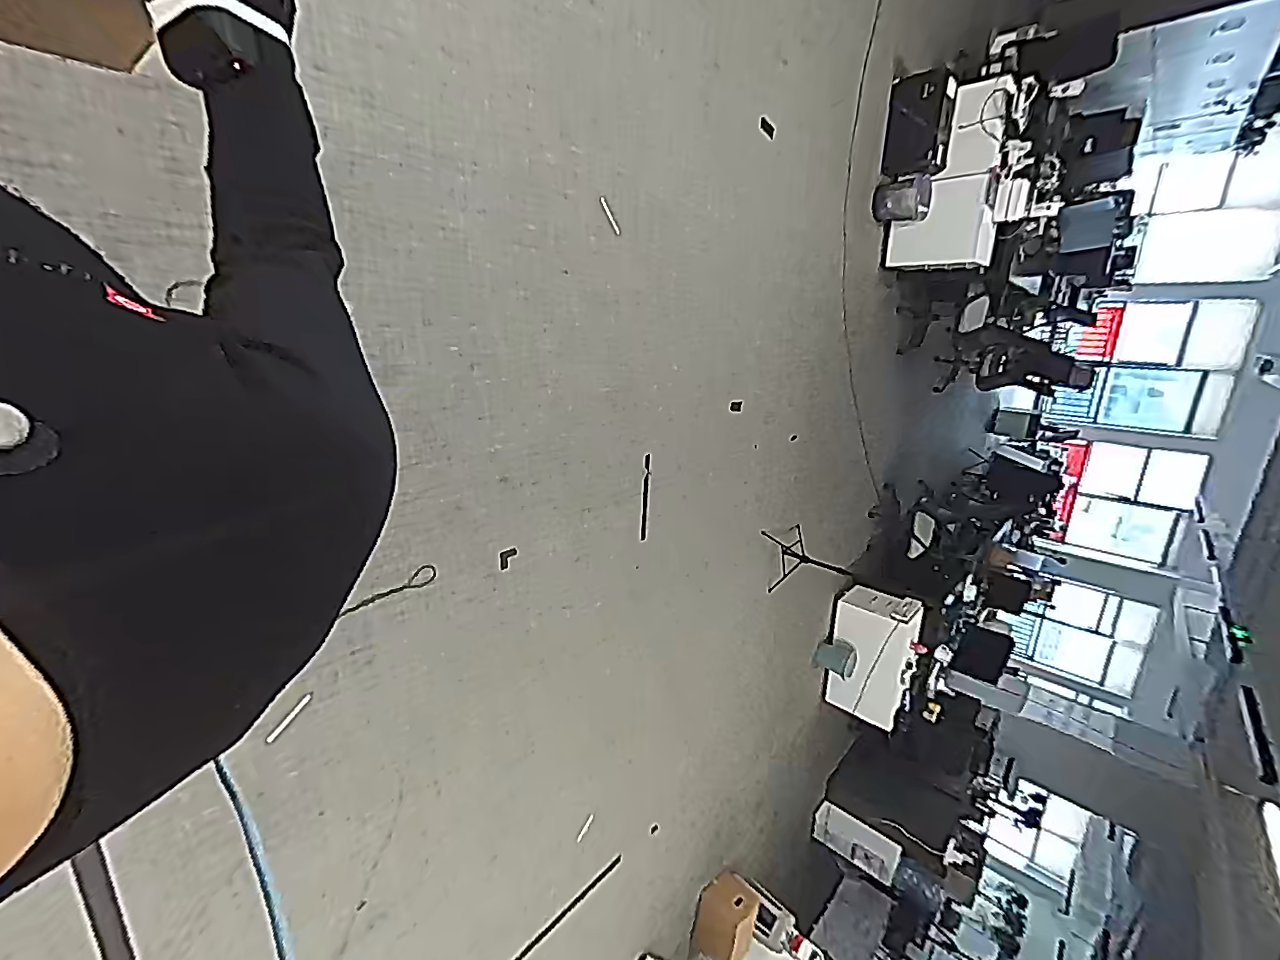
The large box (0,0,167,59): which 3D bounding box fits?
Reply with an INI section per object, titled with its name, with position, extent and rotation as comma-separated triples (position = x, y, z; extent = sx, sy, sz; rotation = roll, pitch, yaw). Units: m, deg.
[large box]
position = -0.550, -0.497, 0.282
extent = 0.408, 0.320, 0.320
rotation = -18, 119, -47
